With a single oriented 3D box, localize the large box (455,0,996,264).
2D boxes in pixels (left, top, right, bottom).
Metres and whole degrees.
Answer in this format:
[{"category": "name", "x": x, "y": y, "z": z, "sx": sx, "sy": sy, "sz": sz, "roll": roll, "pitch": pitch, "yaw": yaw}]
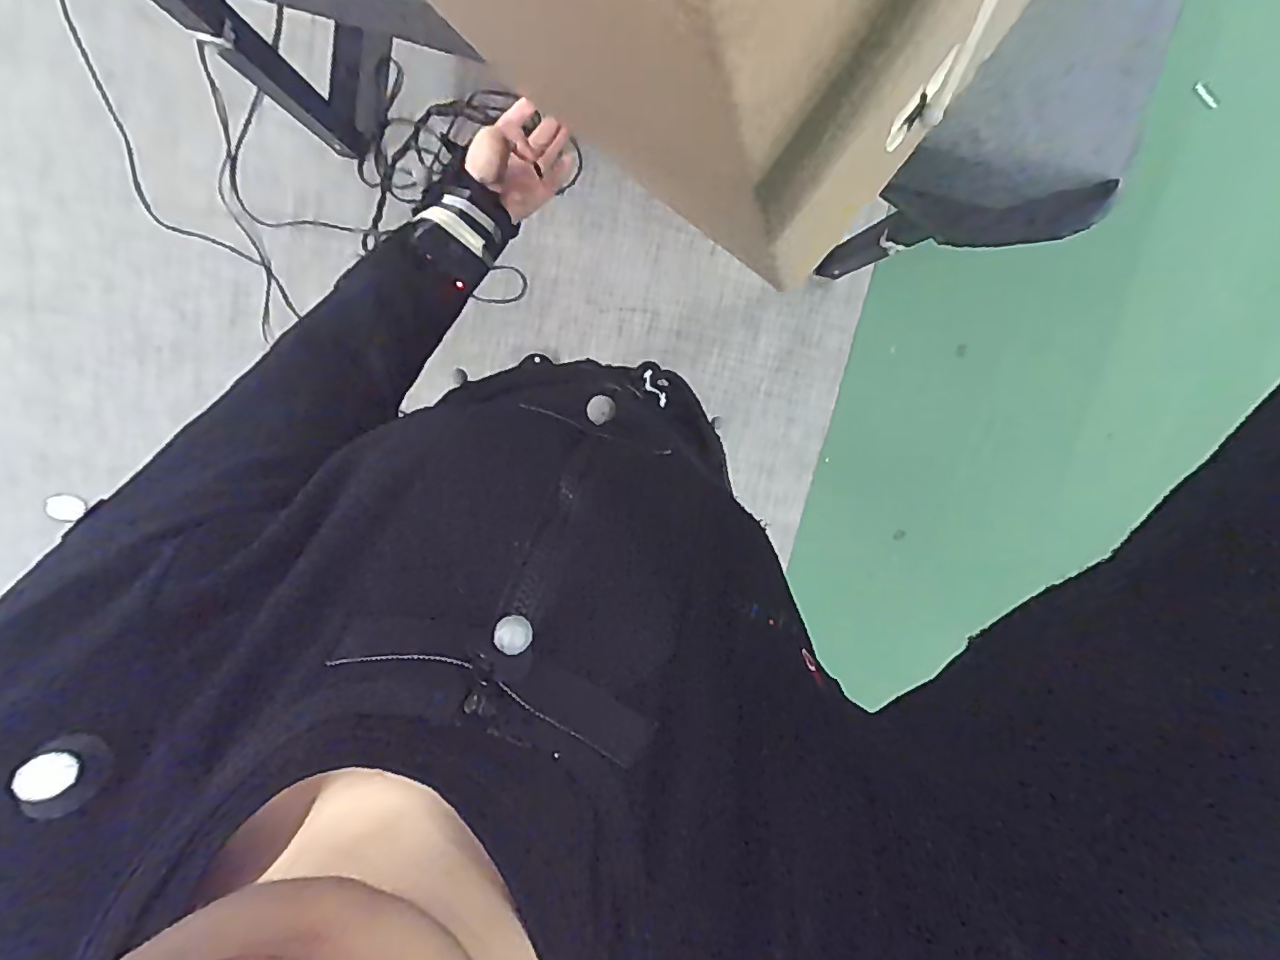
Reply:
[{"category": "large box", "x": 0.045, "y": -0.353, "z": 0.256, "sx": 0.320, "sy": 0.408, "sz": 0.320, "roll": 39, "pitch": 109, "yaw": 5}]
